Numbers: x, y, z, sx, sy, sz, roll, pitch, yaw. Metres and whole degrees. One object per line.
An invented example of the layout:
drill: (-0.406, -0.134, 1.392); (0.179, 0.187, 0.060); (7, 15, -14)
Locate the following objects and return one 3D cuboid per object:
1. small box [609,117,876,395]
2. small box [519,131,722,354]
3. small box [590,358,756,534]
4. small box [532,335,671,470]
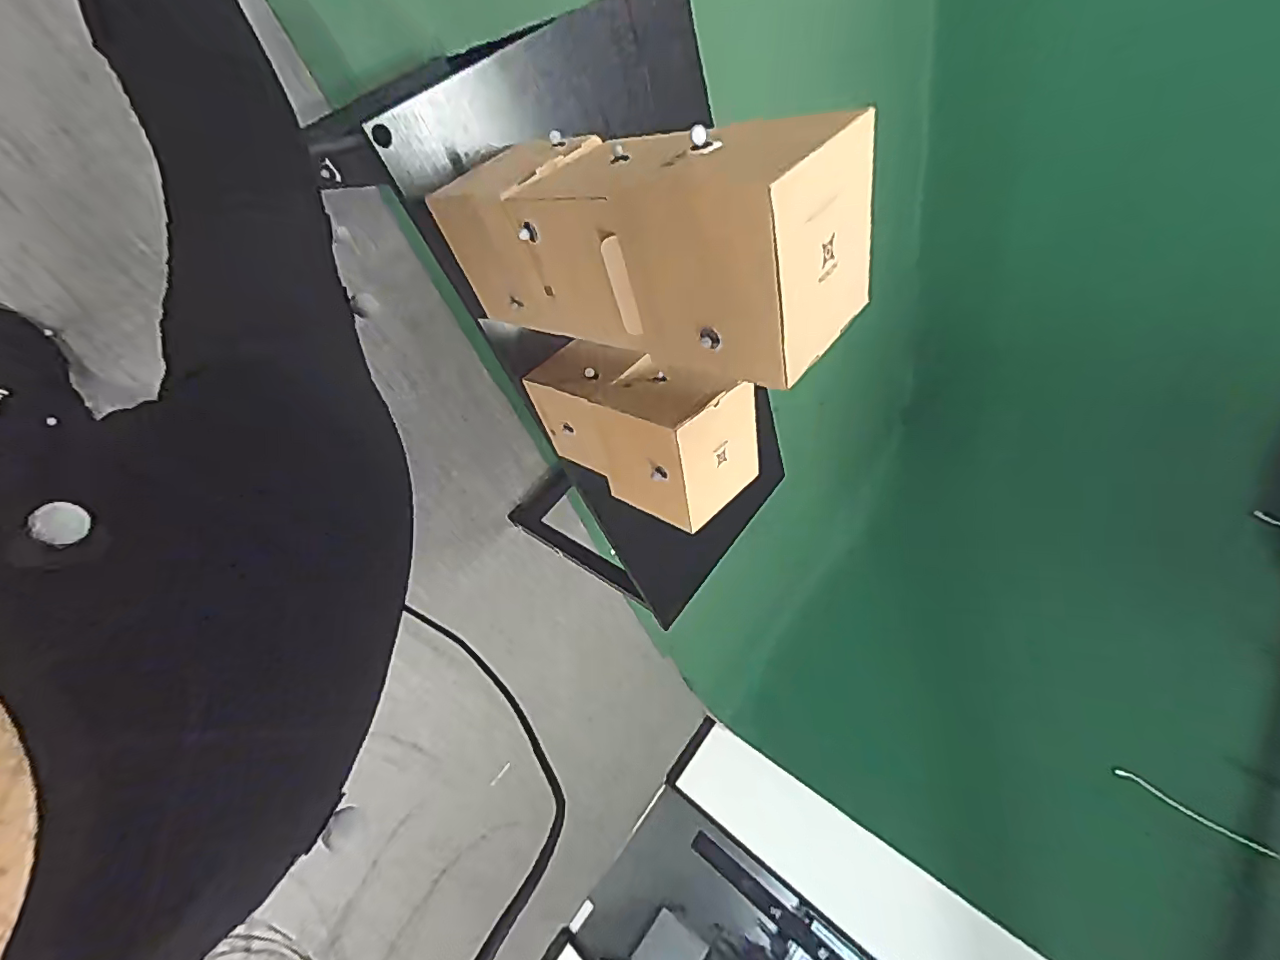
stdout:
small box: (0.099, -0.210, 0.508); (0.168, 0.176, 0.179); (-46, 137, -26)
small box: (-0.012, -0.268, 0.612); (0.179, 0.176, 0.168); (-45, 138, -25)
small box: (0.051, -0.058, 0.794); (0.168, 0.176, 0.179); (-37, 133, -30)
small box: (-0.055, -0.133, 0.895); (0.179, 0.176, 0.168); (-44, 137, -25)
